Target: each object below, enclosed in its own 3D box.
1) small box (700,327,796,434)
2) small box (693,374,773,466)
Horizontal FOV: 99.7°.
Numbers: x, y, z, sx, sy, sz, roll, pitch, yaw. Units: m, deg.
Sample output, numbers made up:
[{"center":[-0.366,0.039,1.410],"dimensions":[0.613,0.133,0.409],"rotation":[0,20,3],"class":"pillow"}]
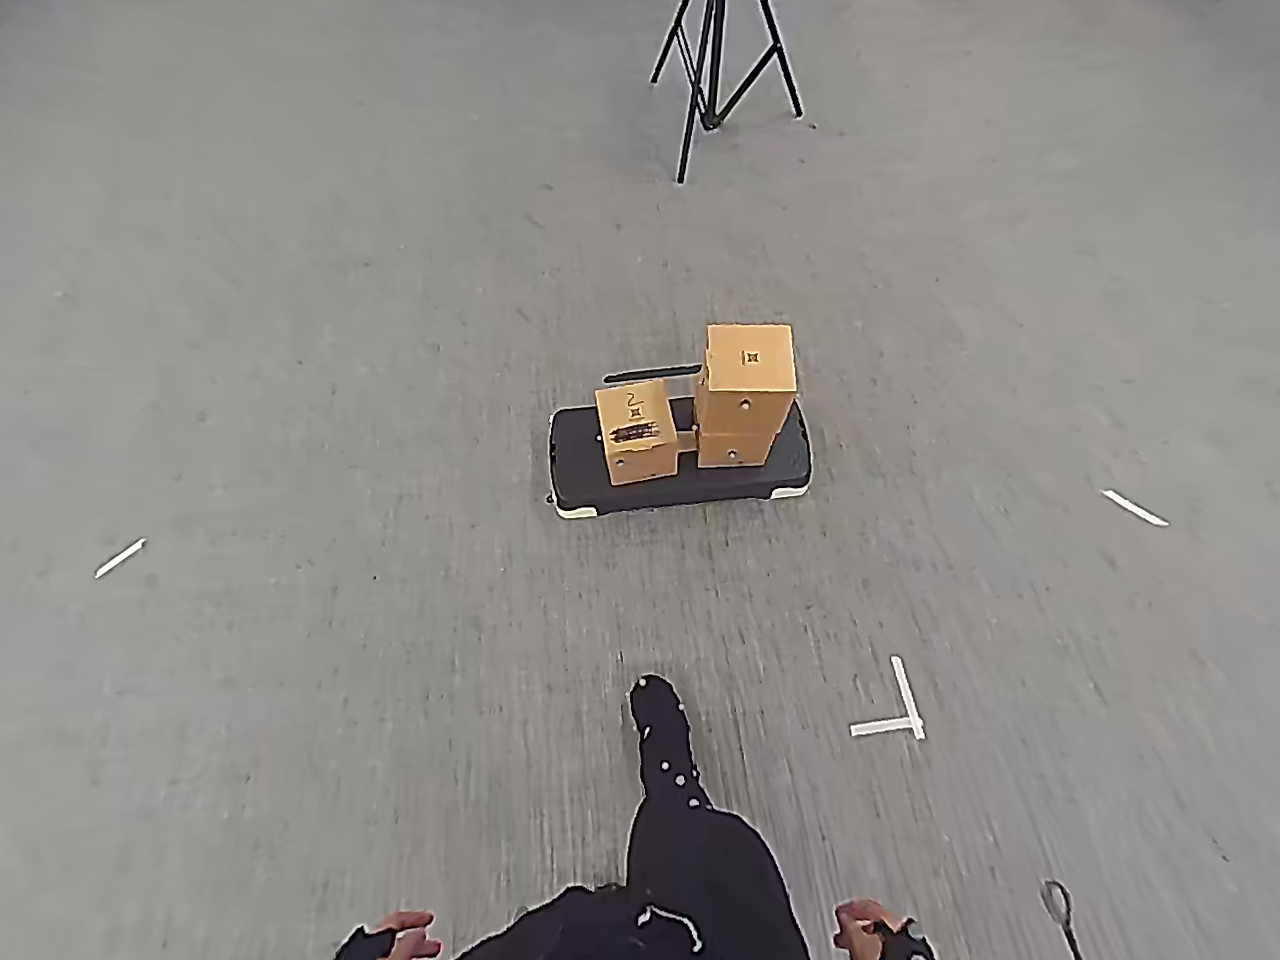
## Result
[{"center":[0.223,-0.209,1.161],"dimensions":[0.179,0.176,0.168],"rotation":[0,66,3],"class":"small box"},{"center":[0.218,-0.141,1.309],"dimensions":[0.168,0.176,0.179],"rotation":[-2,65,1],"class":"small box"}]
